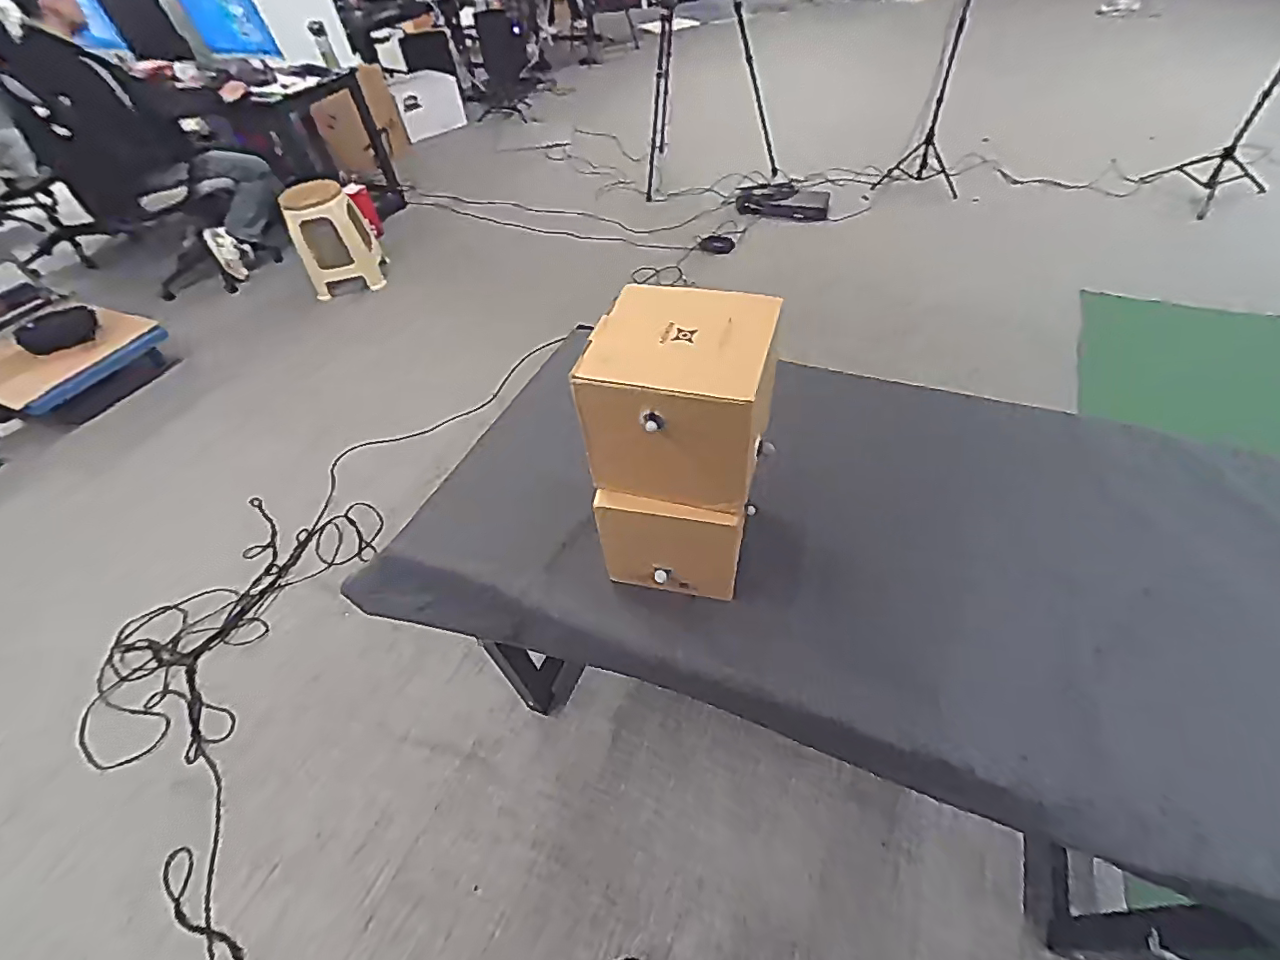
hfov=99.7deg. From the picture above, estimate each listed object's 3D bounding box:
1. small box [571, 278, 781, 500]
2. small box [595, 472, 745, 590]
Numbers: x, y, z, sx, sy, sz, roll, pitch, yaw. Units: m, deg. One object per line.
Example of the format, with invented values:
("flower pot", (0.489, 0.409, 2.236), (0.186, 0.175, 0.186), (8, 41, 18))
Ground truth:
("small box", (0.047, -0.098, 0.593), (0.179, 0.176, 0.168), (11, 53, 15))
("small box", (0.052, 0.018, 0.709), (0.168, 0.176, 0.179), (7, 51, 13))
